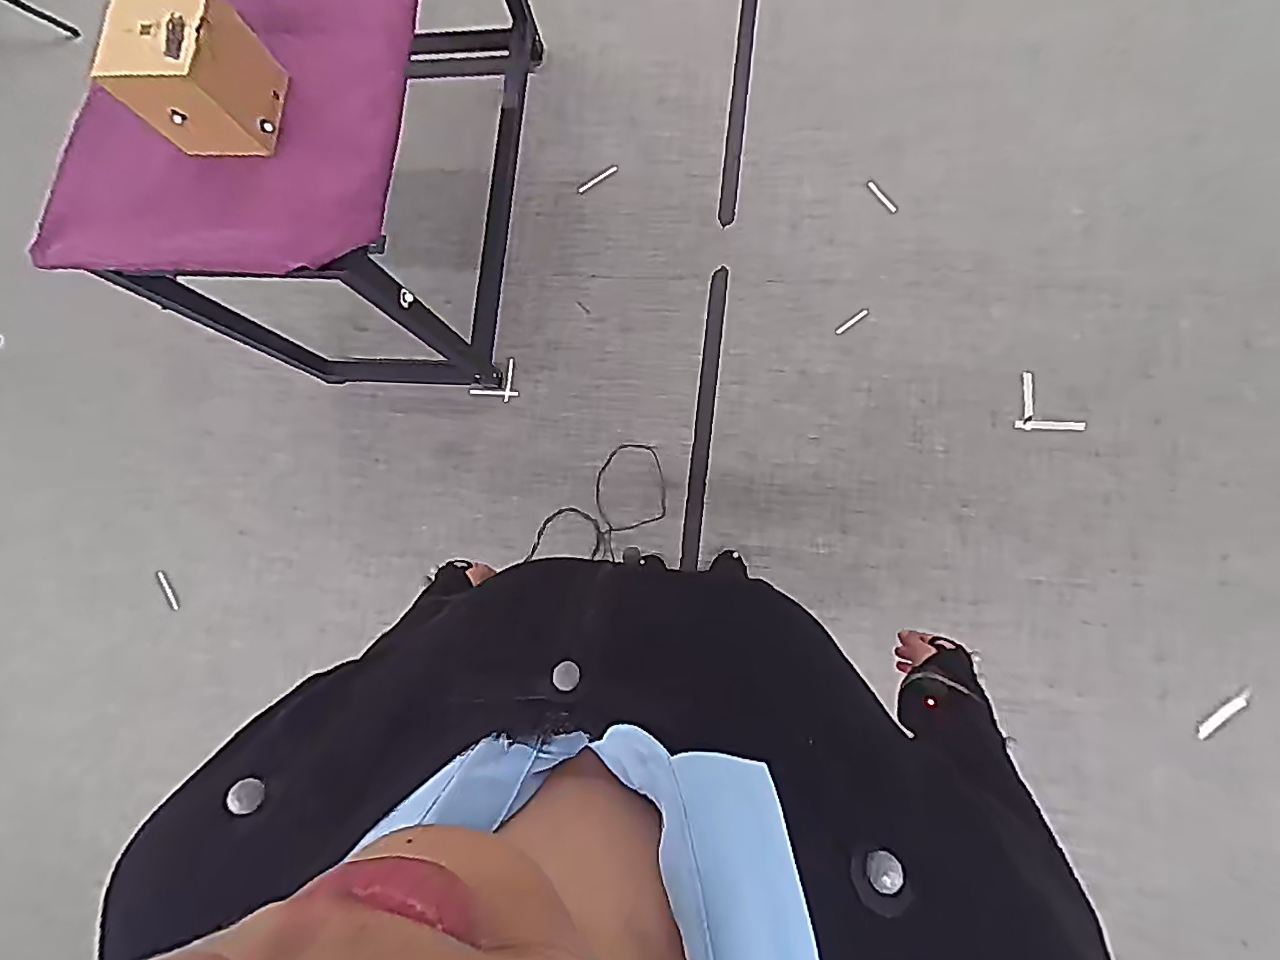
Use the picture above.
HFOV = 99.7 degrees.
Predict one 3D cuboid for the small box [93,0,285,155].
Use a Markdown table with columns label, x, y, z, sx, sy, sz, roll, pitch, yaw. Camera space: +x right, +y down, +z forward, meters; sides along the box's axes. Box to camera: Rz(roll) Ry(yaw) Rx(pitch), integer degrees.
| label | x | y | z | sx | sy | sz | roll | pitch | yaw |
| --- | --- | --- | --- | --- | --- | --- | --- | --- | --- |
| small box | -0.748 | -0.684 | 0.918 | 0.179 | 0.176 | 0.168 | 5 | 82 | 8 |
